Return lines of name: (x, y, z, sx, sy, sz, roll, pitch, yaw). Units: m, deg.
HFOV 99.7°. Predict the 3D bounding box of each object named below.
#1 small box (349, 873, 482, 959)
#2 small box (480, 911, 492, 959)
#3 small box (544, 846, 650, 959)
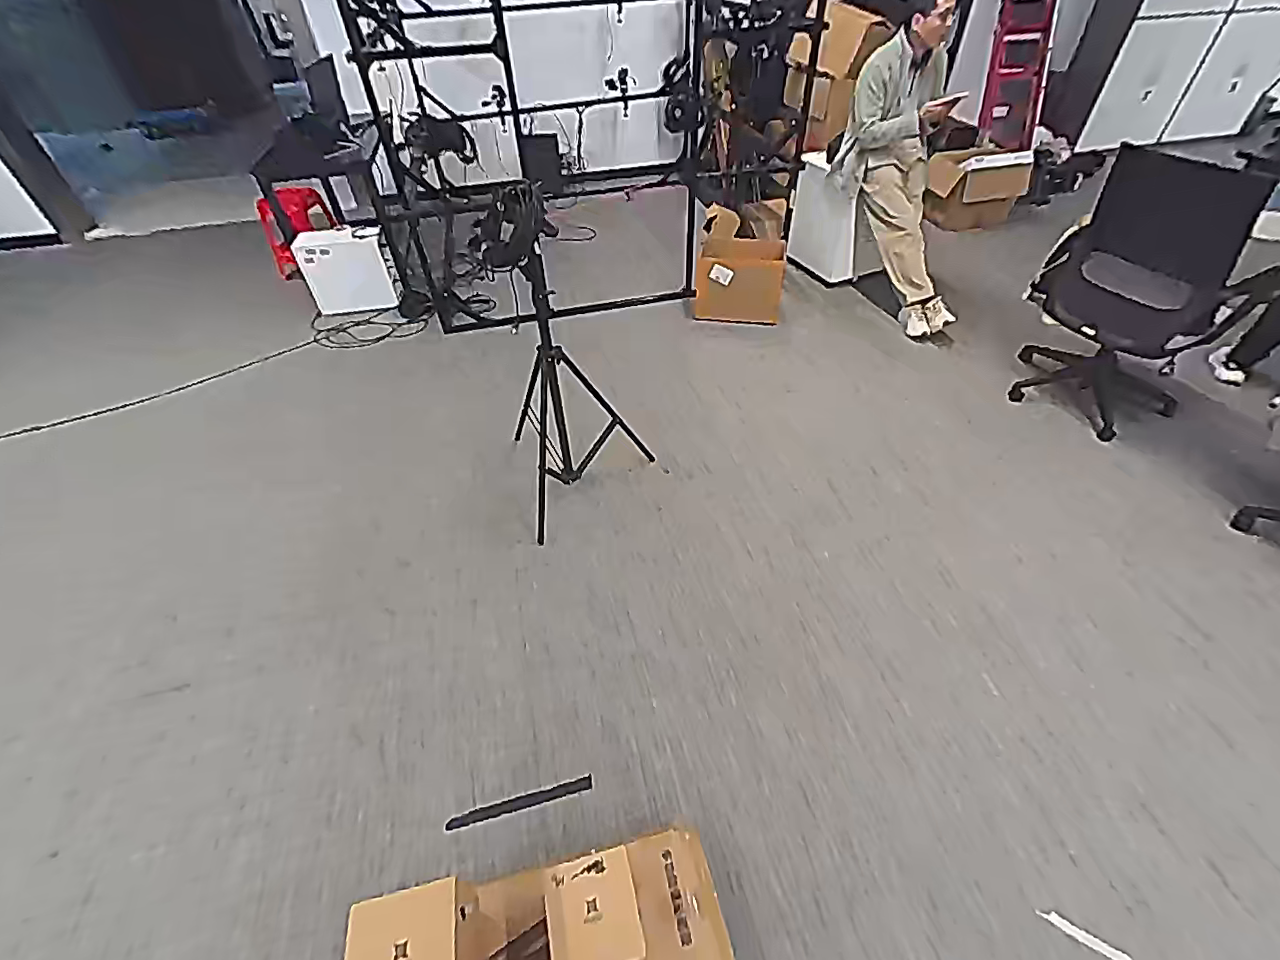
small box: (-0.359, 0.781, 0.879, 0.168, 0.176, 0.179, -11, 45, -8)
small box: (-0.371, 0.908, 0.986, 0.168, 0.176, 0.179, -12, 46, -10)
small box: (-0.081, 0.842, 1.041, 0.168, 0.176, 0.179, -12, 46, -7)
